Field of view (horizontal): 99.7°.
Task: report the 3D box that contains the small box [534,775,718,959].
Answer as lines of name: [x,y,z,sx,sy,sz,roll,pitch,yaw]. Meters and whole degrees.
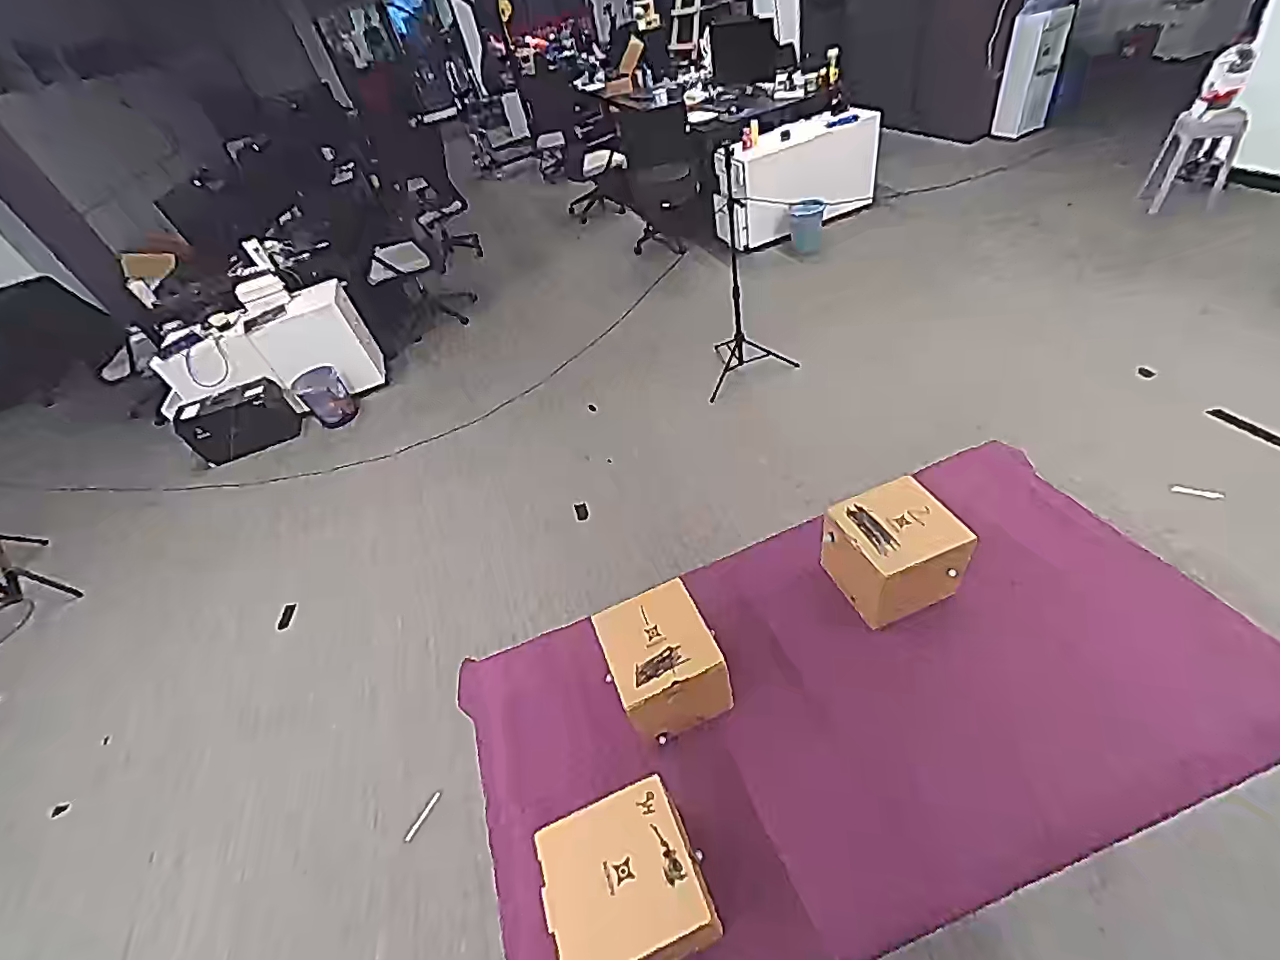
small box: [-0.015,0.525,0.699,0.179,0.176,0.168,-22,44,-7]

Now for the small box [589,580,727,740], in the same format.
small box: [0.034,0.309,0.909,0.168,0.176,0.179,-23,44,-8]
